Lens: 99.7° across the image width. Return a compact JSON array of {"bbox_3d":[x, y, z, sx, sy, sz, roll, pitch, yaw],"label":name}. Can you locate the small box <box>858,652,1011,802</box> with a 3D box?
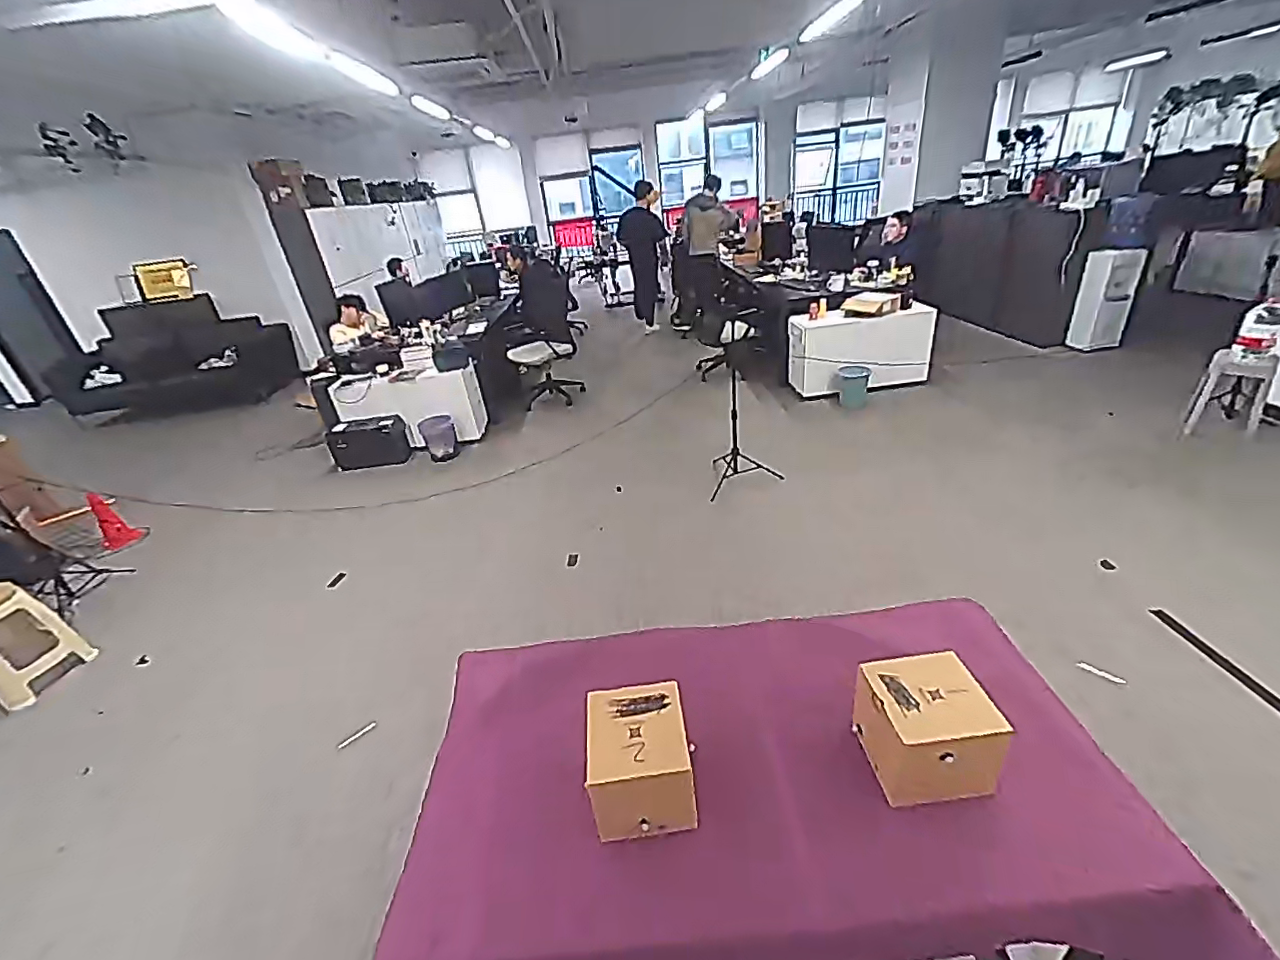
[{"bbox_3d":[0.493,0.429,0.938,0.179,0.176,0.168,-7,29,0],"label":"small box"}]
